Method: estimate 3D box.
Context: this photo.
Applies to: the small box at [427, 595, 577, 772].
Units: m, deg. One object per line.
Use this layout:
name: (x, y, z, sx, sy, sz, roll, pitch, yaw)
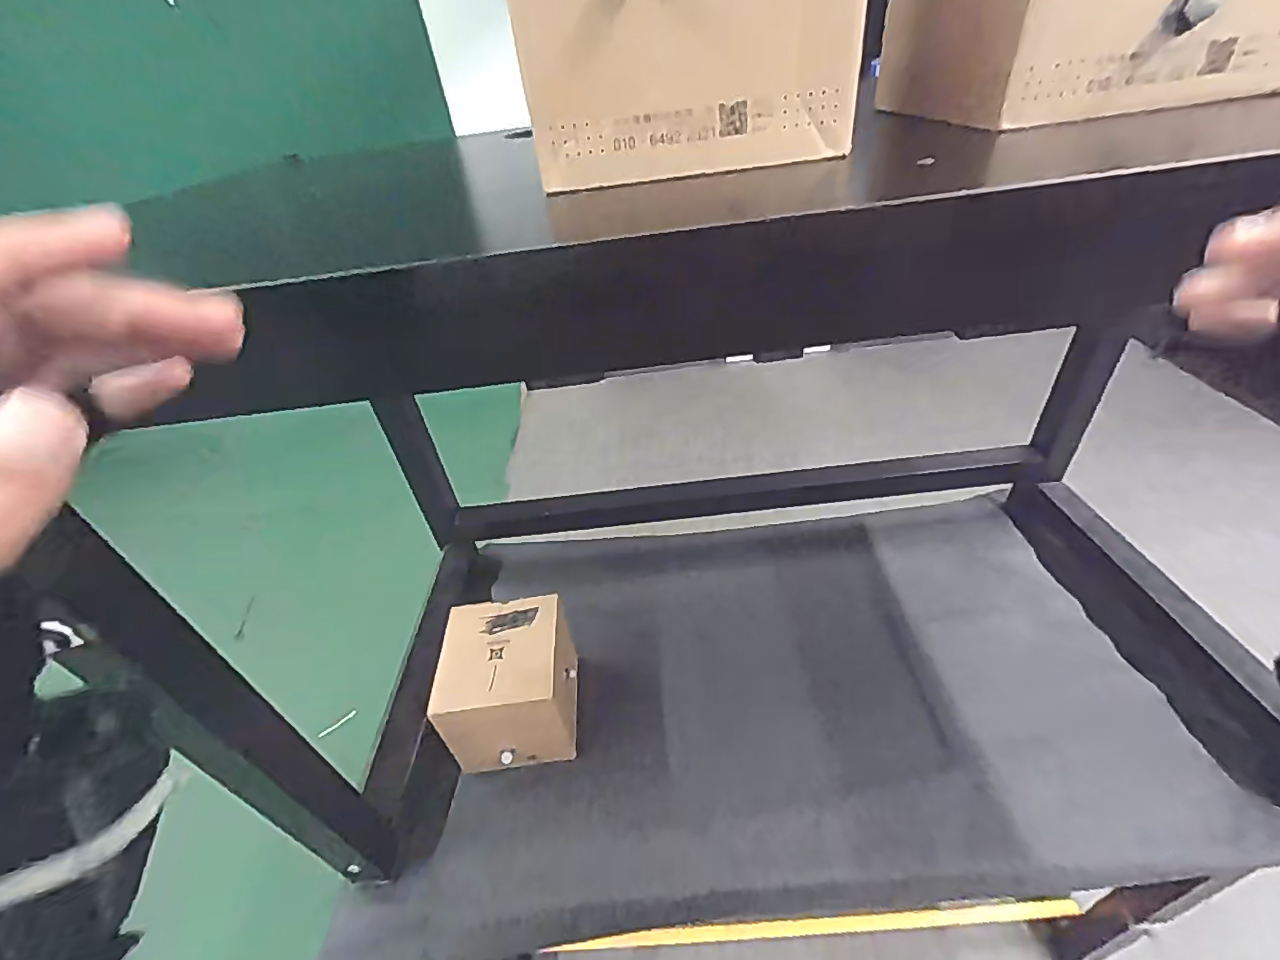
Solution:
small box: (-0.190, 0.300, 0.803, 0.168, 0.176, 0.179, -8, 38, 1)
